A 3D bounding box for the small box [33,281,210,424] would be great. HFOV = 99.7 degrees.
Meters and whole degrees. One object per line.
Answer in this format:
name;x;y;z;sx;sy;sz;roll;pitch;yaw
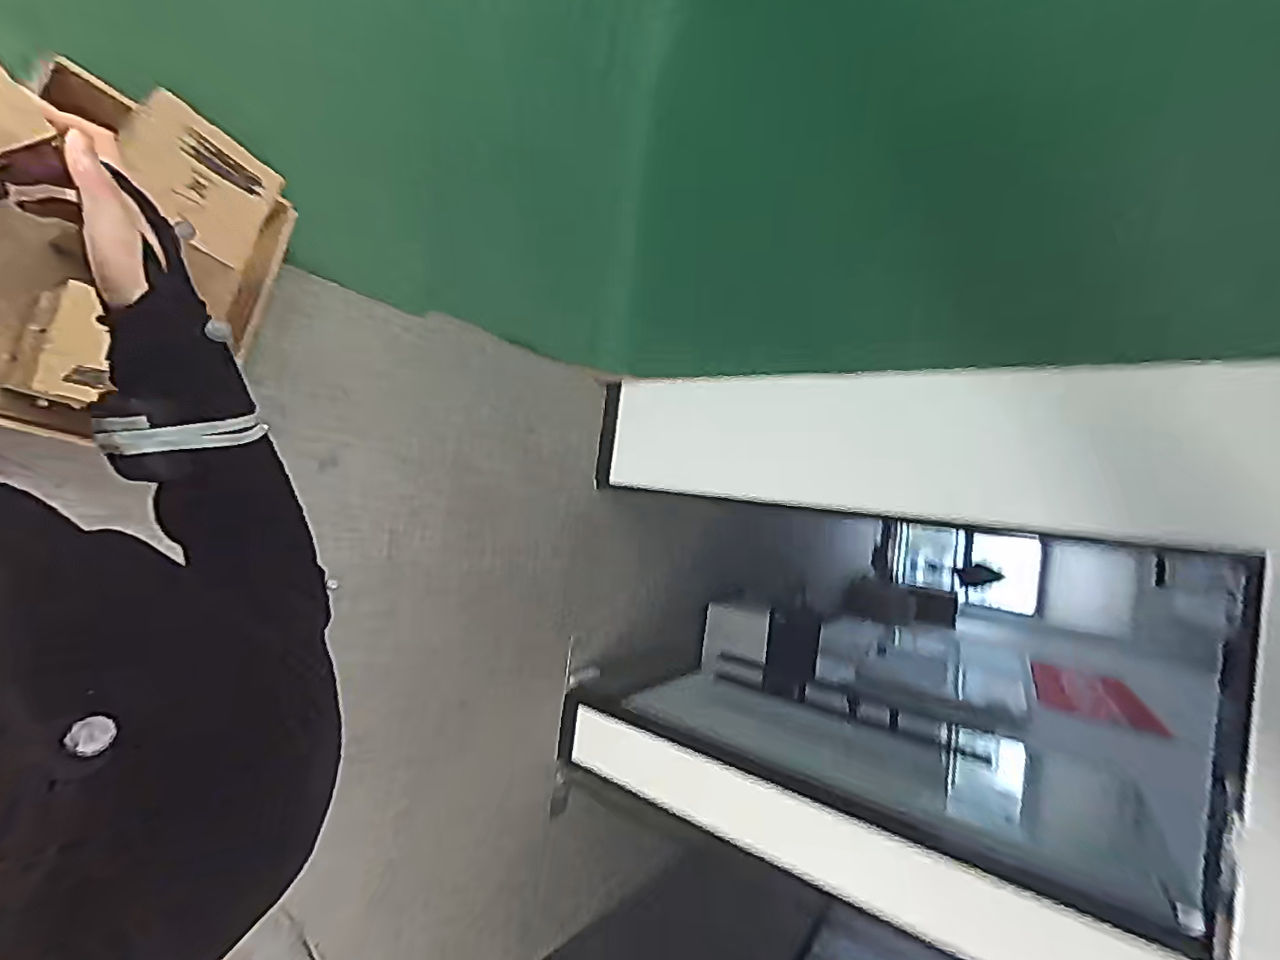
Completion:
small box;-0.871;-0.203;0.908;0.168;0.176;0.179;23;75;-53
